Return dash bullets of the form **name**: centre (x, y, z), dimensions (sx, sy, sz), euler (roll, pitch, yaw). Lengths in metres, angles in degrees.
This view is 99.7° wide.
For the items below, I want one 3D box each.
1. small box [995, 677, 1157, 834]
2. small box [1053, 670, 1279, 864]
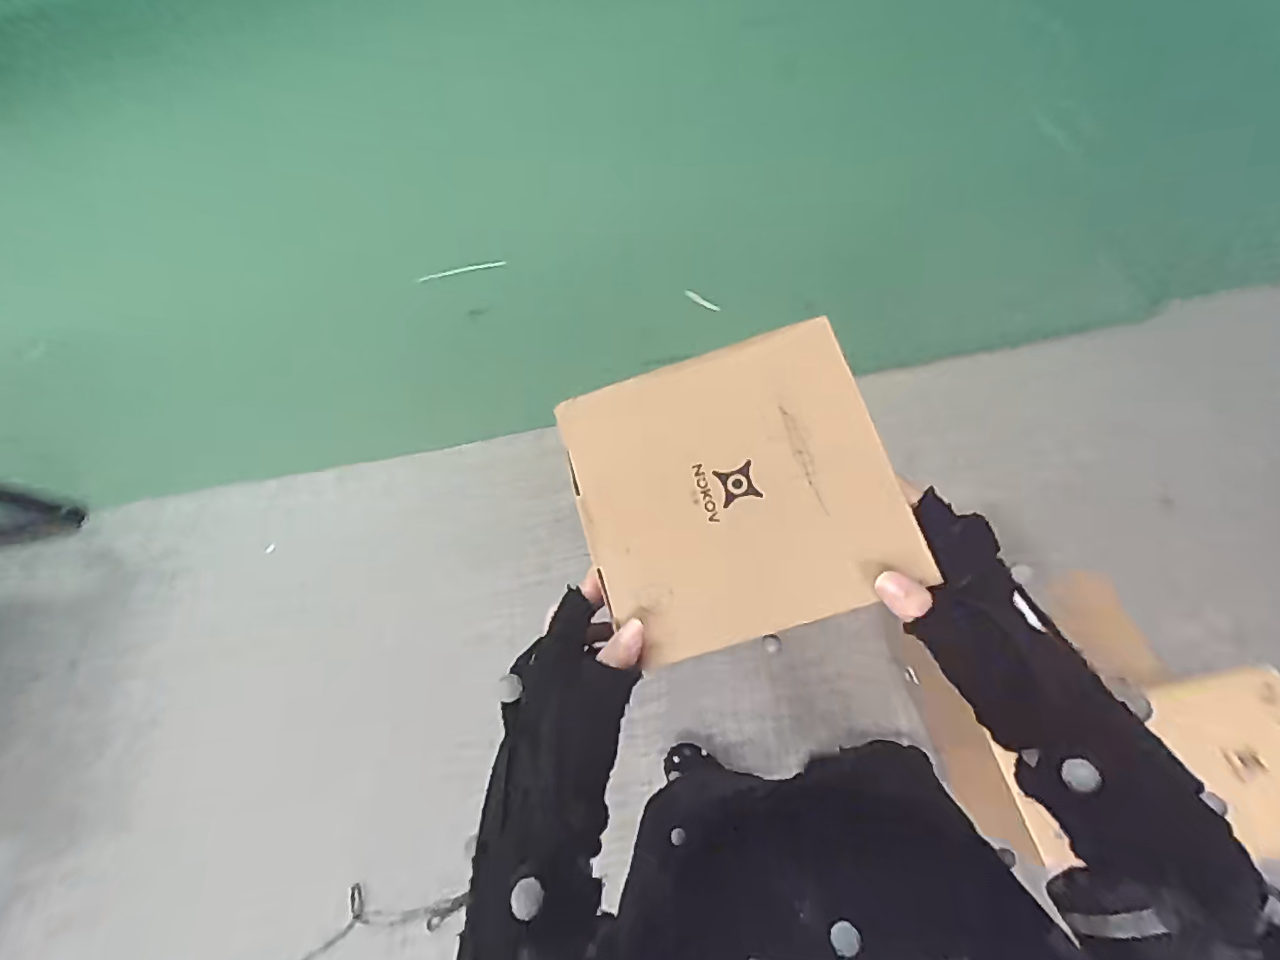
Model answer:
- **small box**: centre (0.676, 0.399, 0.804), dimensions (0.168, 0.176, 0.179), euler (-12, 66, 5)
- **small box**: centre (0.651, 0.336, 0.655), dimensions (0.179, 0.176, 0.168), euler (-14, 66, 4)
